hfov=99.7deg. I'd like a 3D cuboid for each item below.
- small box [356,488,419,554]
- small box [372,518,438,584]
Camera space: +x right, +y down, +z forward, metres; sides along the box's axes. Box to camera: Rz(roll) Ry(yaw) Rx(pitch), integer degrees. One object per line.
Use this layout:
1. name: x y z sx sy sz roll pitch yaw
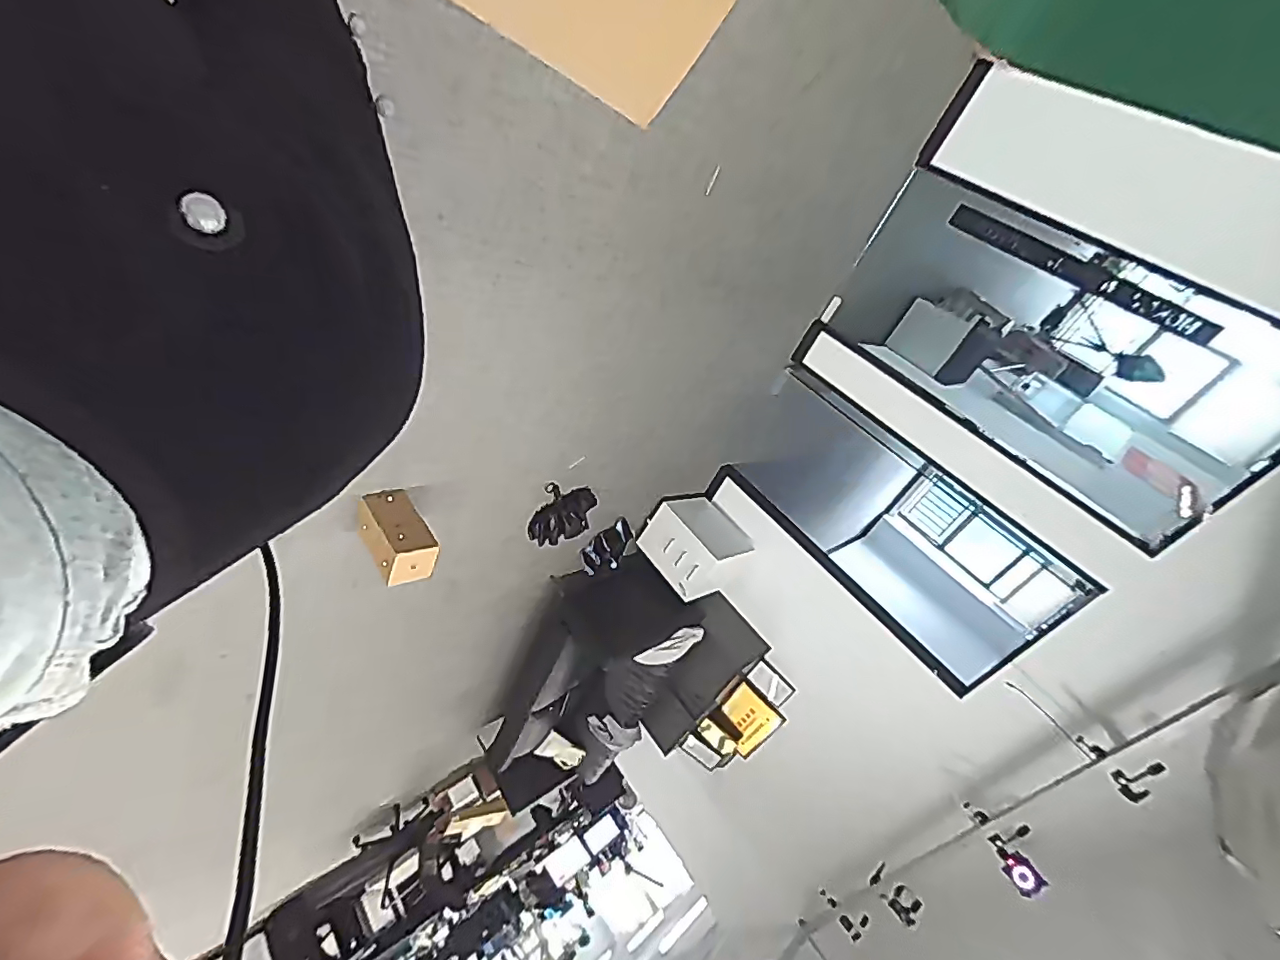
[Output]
1. small box: -0.998 0.158 2.127 0.168 0.176 0.179 -13 140 -45
2. small box: -0.897 0.261 2.054 0.168 0.176 0.179 -10 140 -46
